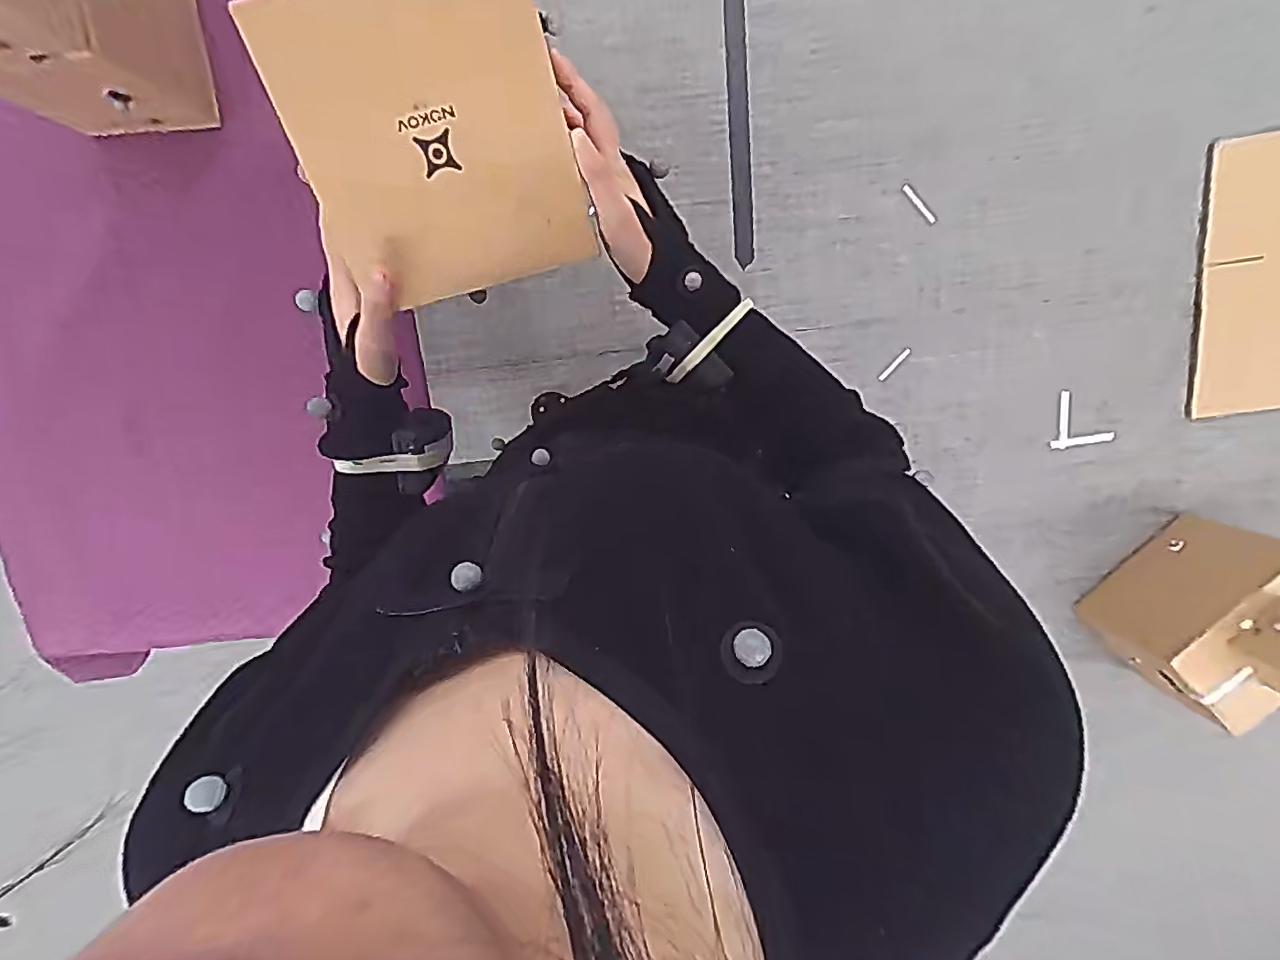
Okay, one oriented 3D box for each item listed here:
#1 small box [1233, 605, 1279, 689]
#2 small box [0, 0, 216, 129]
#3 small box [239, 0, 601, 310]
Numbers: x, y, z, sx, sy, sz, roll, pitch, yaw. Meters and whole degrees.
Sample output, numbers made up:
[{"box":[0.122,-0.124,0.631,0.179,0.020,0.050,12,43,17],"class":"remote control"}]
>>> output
[{"box":[1.526,0.407,1.211,0.179,0.176,0.168,41,99,-8],"class":"small box"},{"box":[-0.591,-0.489,0.560,0.168,0.176,0.179,-4,102,0],"class":"small box"},{"box":[-0.129,-0.245,0.402,0.168,0.176,0.179,-15,116,1],"class":"small box"}]
